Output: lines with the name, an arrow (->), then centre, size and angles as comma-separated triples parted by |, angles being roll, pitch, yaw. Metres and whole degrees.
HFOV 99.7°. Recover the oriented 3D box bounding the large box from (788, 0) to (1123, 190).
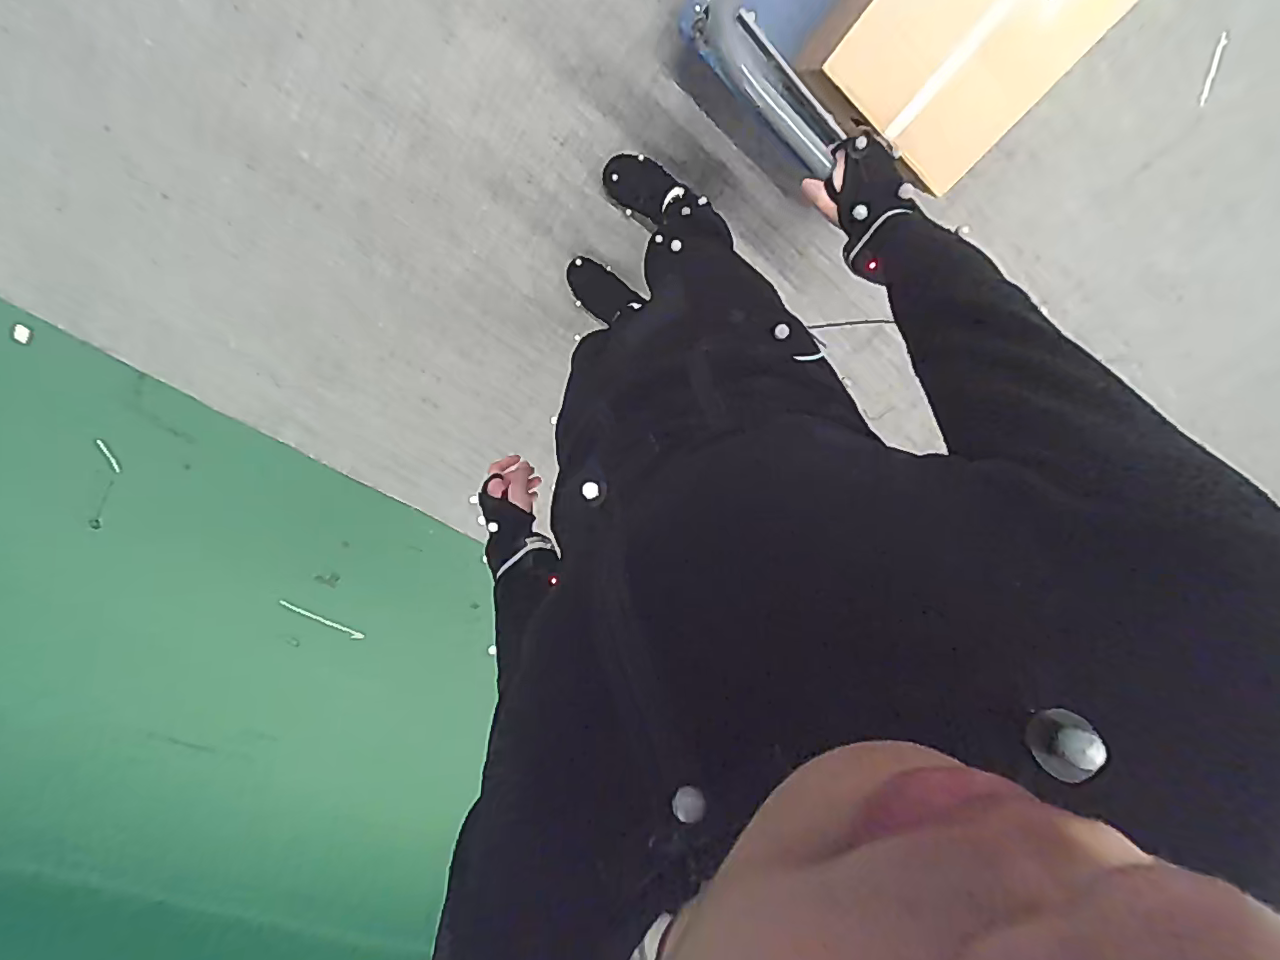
large box -> 0.527, -0.797, 0.930 | 0.320, 0.320, 0.408 | 32, 121, -21
